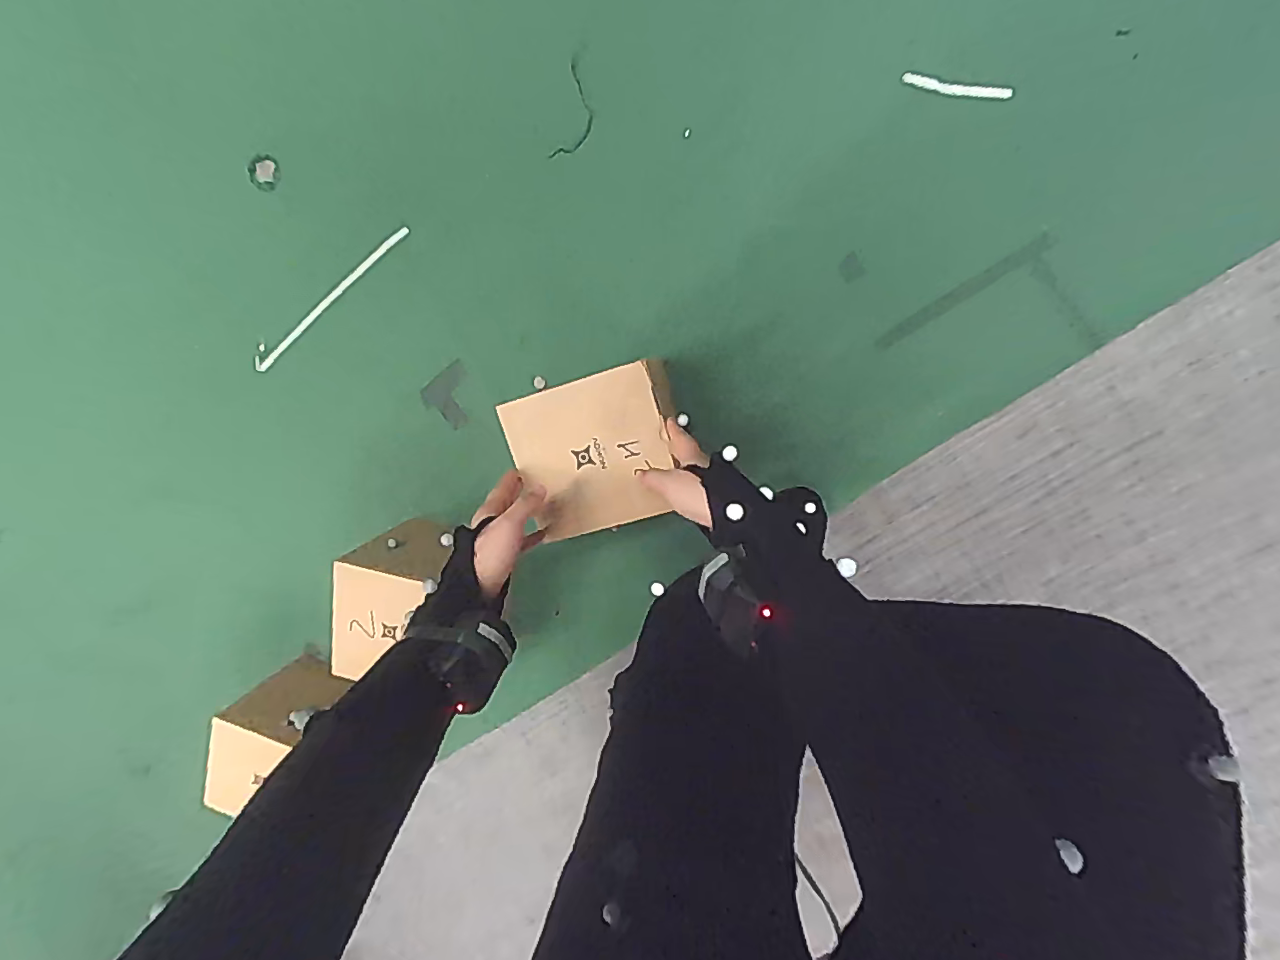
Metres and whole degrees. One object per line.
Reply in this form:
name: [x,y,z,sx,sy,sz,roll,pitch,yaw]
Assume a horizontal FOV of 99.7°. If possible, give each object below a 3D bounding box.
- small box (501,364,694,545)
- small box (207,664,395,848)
small box: [-0.039,-0.038,0.665,0.179,0.176,0.168,-15,100,11]
small box: [-0.522,0.418,0.848,0.179,0.176,0.168,18,105,3]
